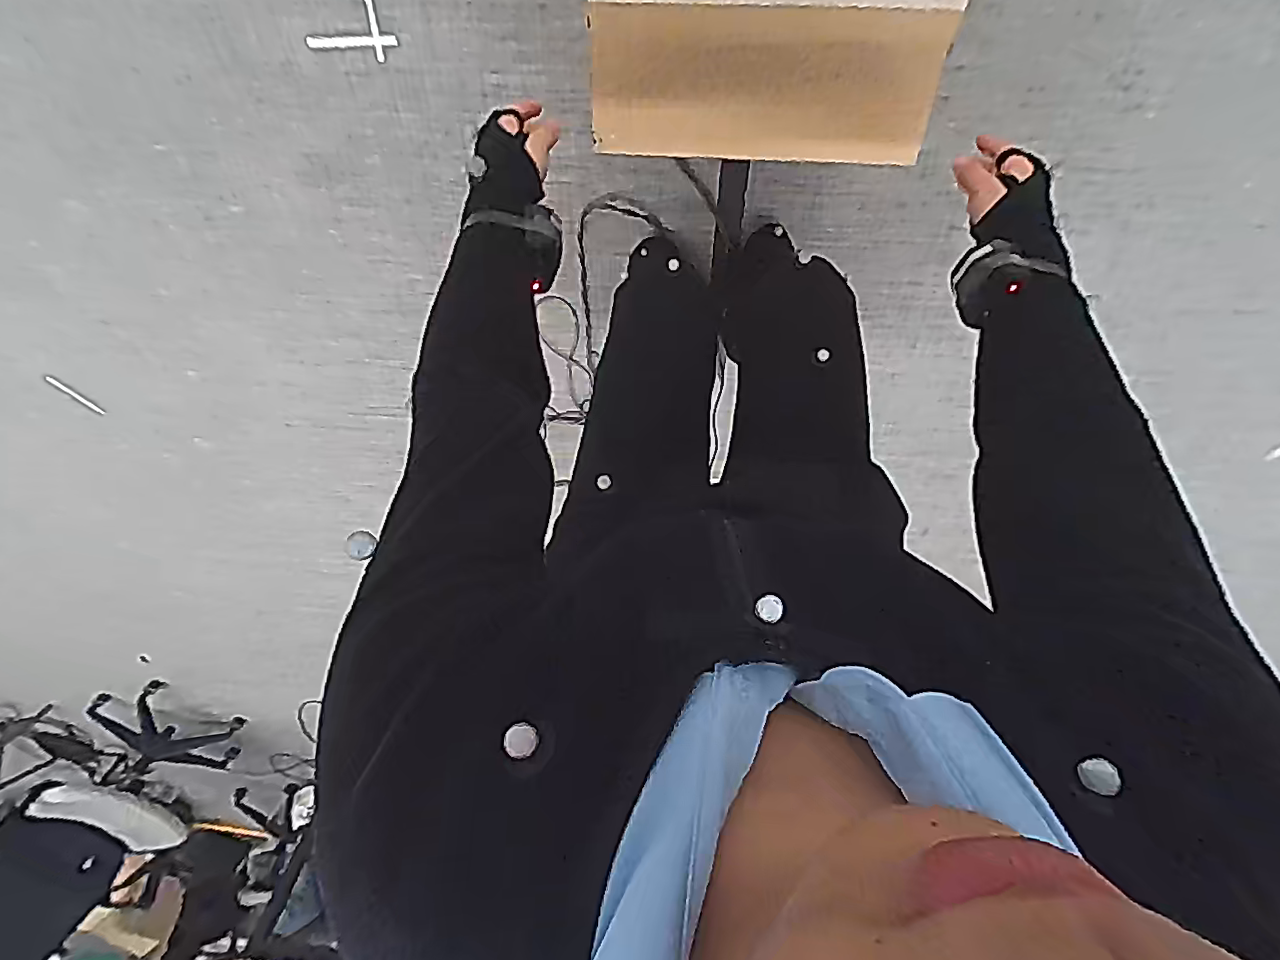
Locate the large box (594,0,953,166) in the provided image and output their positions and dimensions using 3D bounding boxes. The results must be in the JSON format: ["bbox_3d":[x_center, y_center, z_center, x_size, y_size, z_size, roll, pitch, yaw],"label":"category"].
[{"bbox_3d":[0.159,-0.621,0.719,0.408,0.320,0.320,4,126,3],"label":"large box"}]
